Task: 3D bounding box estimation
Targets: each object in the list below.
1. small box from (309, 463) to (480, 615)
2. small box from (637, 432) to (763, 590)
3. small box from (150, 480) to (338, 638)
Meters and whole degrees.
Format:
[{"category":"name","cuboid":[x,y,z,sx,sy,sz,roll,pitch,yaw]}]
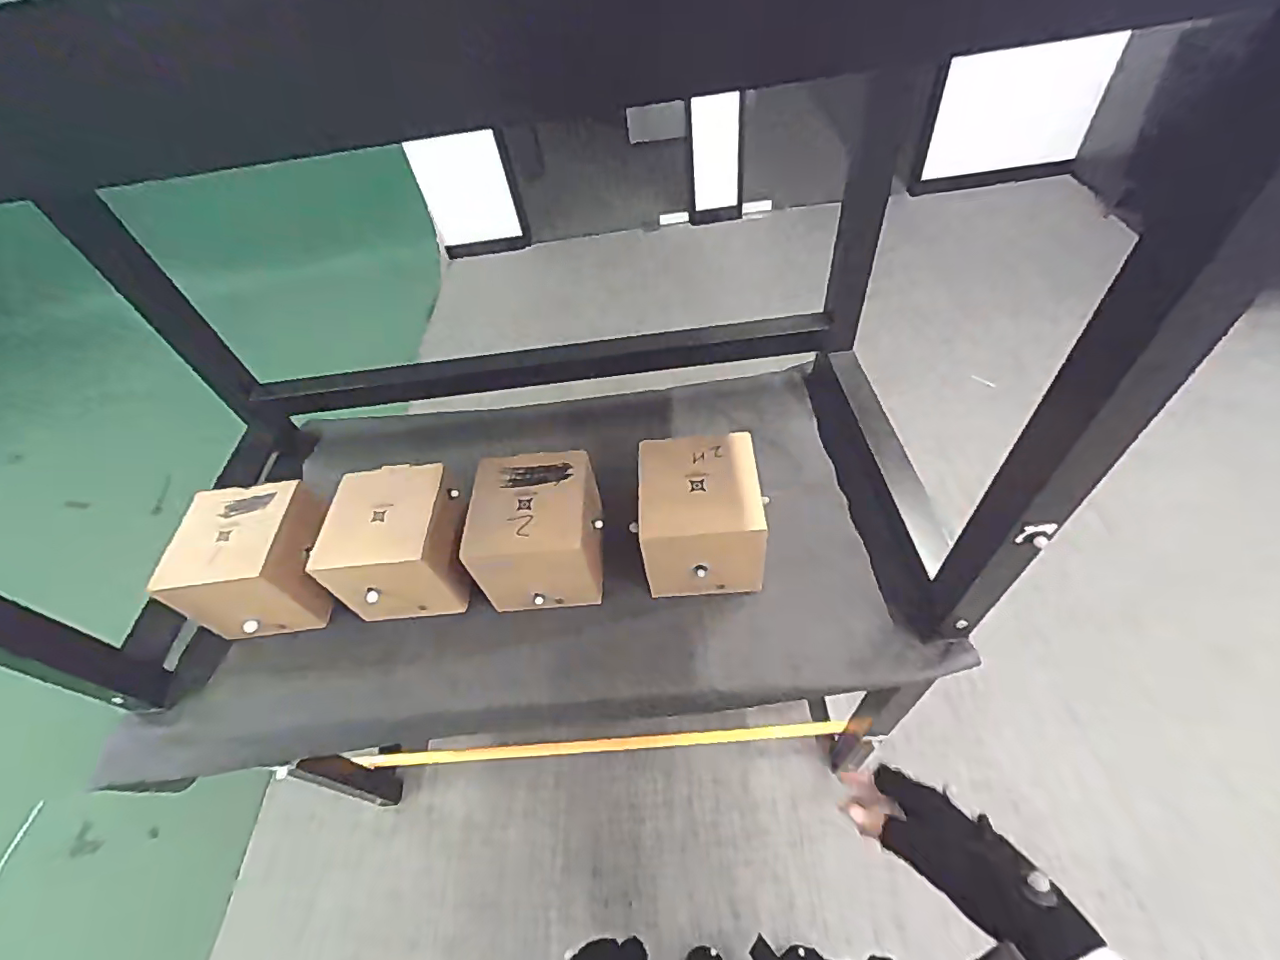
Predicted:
[{"category":"small box","cuboid":[-0.363,0.099,0.842,0.168,0.176,0.179,-6,49,4]},{"category":"small box","cuboid":[0.088,0.053,0.804,0.168,0.176,0.179,-4,50,5]},{"category":"small box","cuboid":[-0.589,0.126,0.852,0.168,0.176,0.179,-8,50,2]}]
